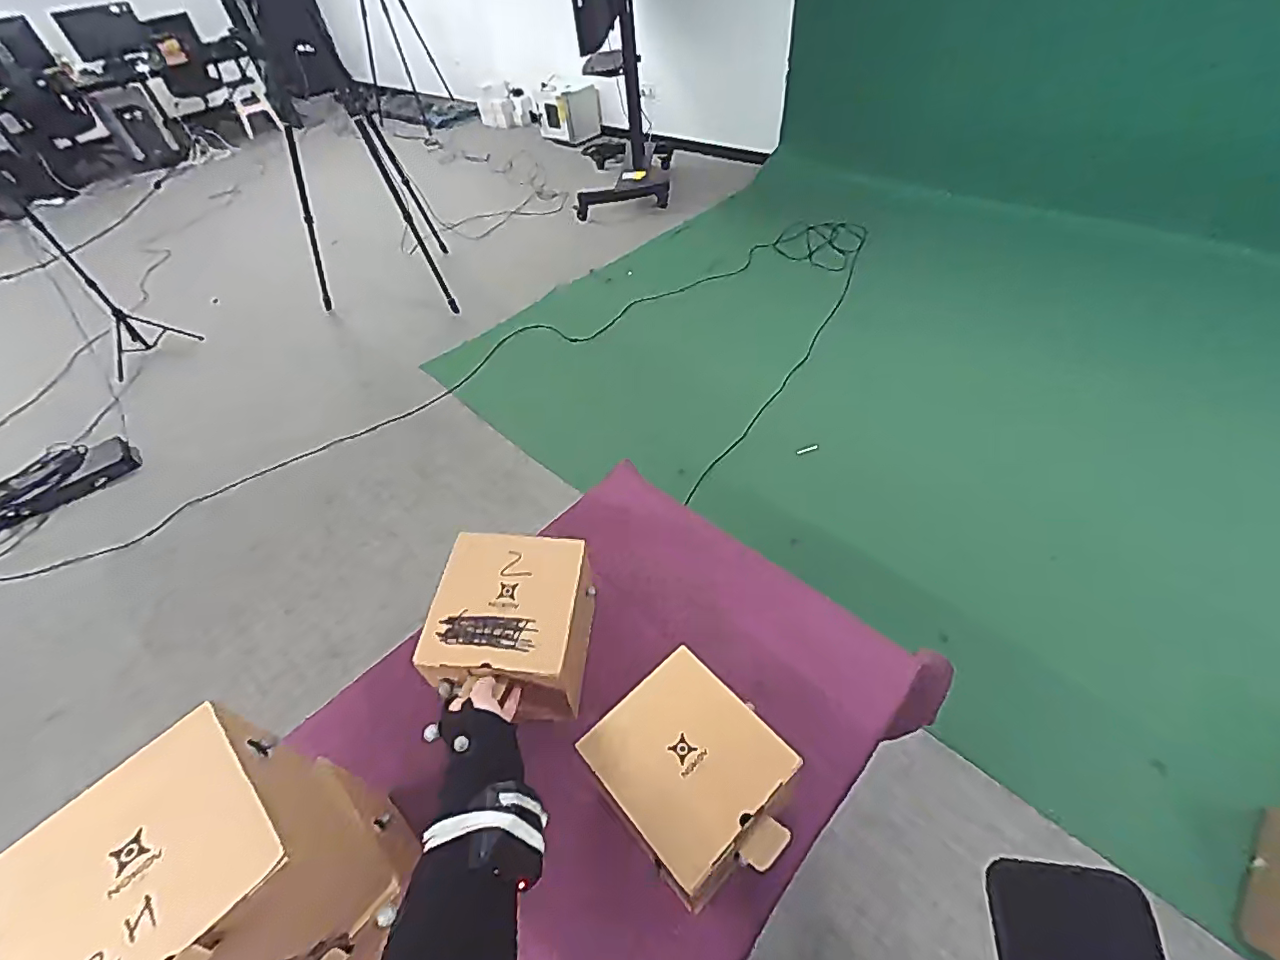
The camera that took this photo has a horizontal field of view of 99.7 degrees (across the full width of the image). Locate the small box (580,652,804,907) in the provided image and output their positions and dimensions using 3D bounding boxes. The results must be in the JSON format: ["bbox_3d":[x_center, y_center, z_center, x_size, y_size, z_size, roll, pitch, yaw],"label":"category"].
[{"bbox_3d":[0.057,0.341,0.616,0.168,0.176,0.179,-36,53,-23],"label":"small box"}]

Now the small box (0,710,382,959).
[{"bbox_3d":[-0.358,0.340,0.453,0.179,0.176,0.168,31,58,31],"label":"small box"}]

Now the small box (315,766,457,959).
[{"bbox_3d":[-0.327,0.450,0.572,0.179,0.176,0.168,31,58,32],"label":"small box"}]
